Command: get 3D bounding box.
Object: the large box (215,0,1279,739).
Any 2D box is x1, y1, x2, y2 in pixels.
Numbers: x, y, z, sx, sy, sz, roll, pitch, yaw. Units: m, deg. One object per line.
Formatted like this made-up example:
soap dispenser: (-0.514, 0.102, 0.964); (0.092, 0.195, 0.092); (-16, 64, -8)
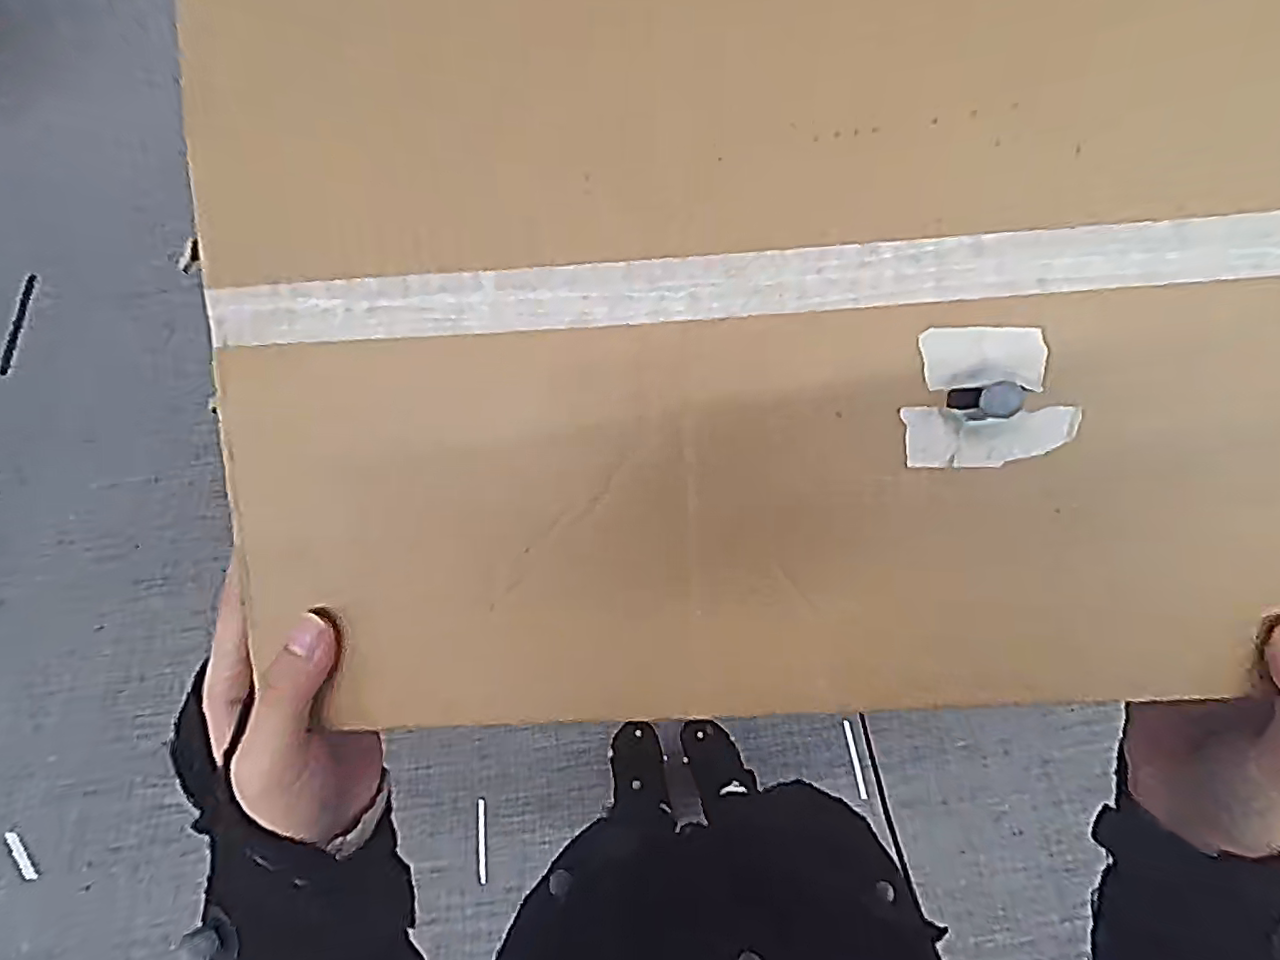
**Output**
large box: (0.050, -0.072, 0.350); (0.408, 0.320, 0.320); (-4, 94, 1)
